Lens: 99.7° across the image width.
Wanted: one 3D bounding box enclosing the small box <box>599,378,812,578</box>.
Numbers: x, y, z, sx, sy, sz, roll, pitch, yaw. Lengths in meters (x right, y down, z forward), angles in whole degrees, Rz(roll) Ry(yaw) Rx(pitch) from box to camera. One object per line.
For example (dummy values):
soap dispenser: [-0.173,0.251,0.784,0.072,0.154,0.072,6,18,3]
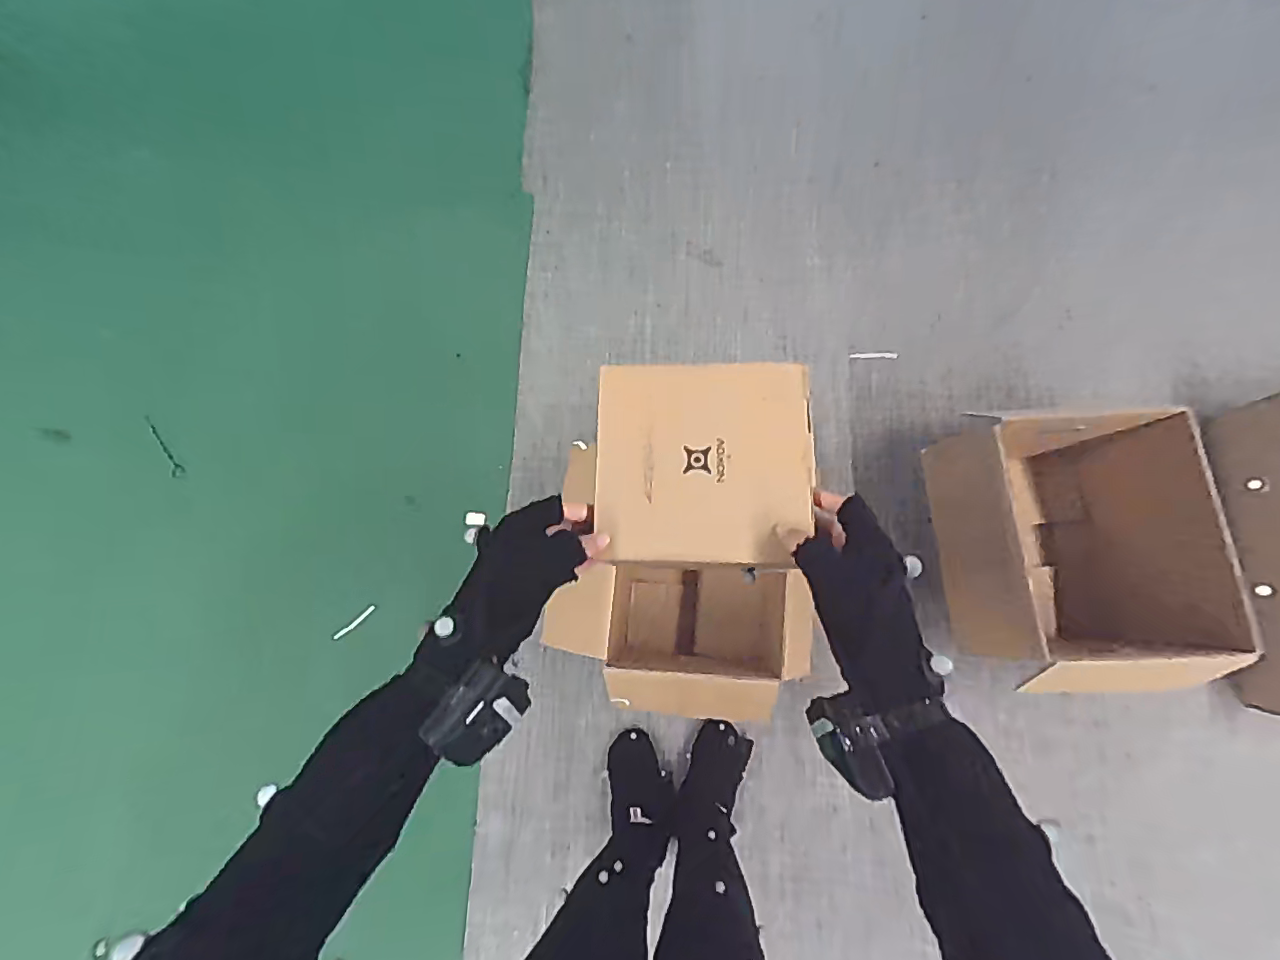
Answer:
small box: [0.060,0.008,0.533,0.179,0.176,0.168,0,77,5]
